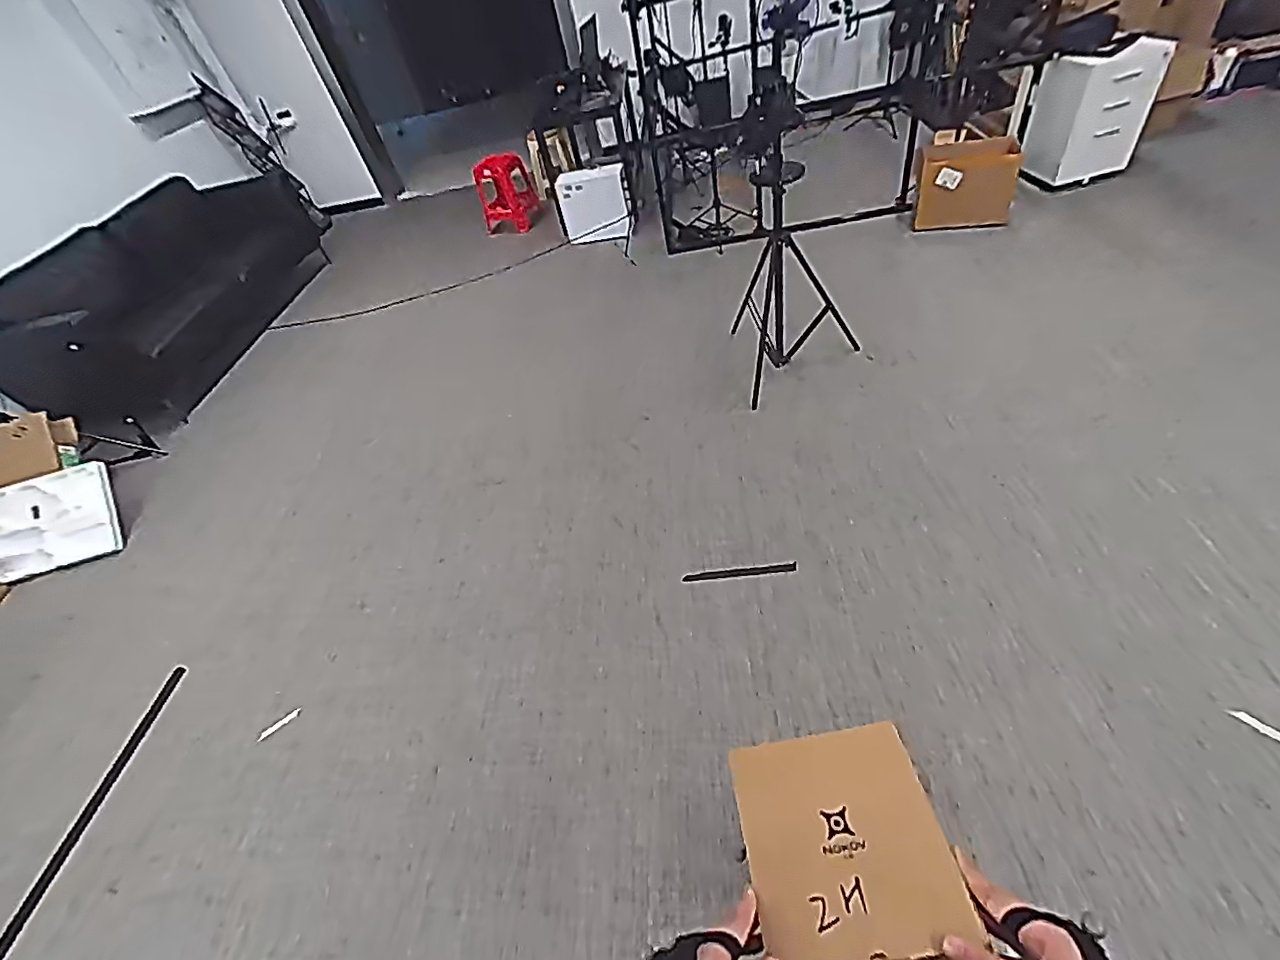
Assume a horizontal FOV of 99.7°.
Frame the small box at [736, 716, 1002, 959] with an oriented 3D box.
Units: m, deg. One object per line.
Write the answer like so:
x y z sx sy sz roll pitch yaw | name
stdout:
0.196 0.359 0.511 0.168 0.176 0.179 -14 38 6 | small box
